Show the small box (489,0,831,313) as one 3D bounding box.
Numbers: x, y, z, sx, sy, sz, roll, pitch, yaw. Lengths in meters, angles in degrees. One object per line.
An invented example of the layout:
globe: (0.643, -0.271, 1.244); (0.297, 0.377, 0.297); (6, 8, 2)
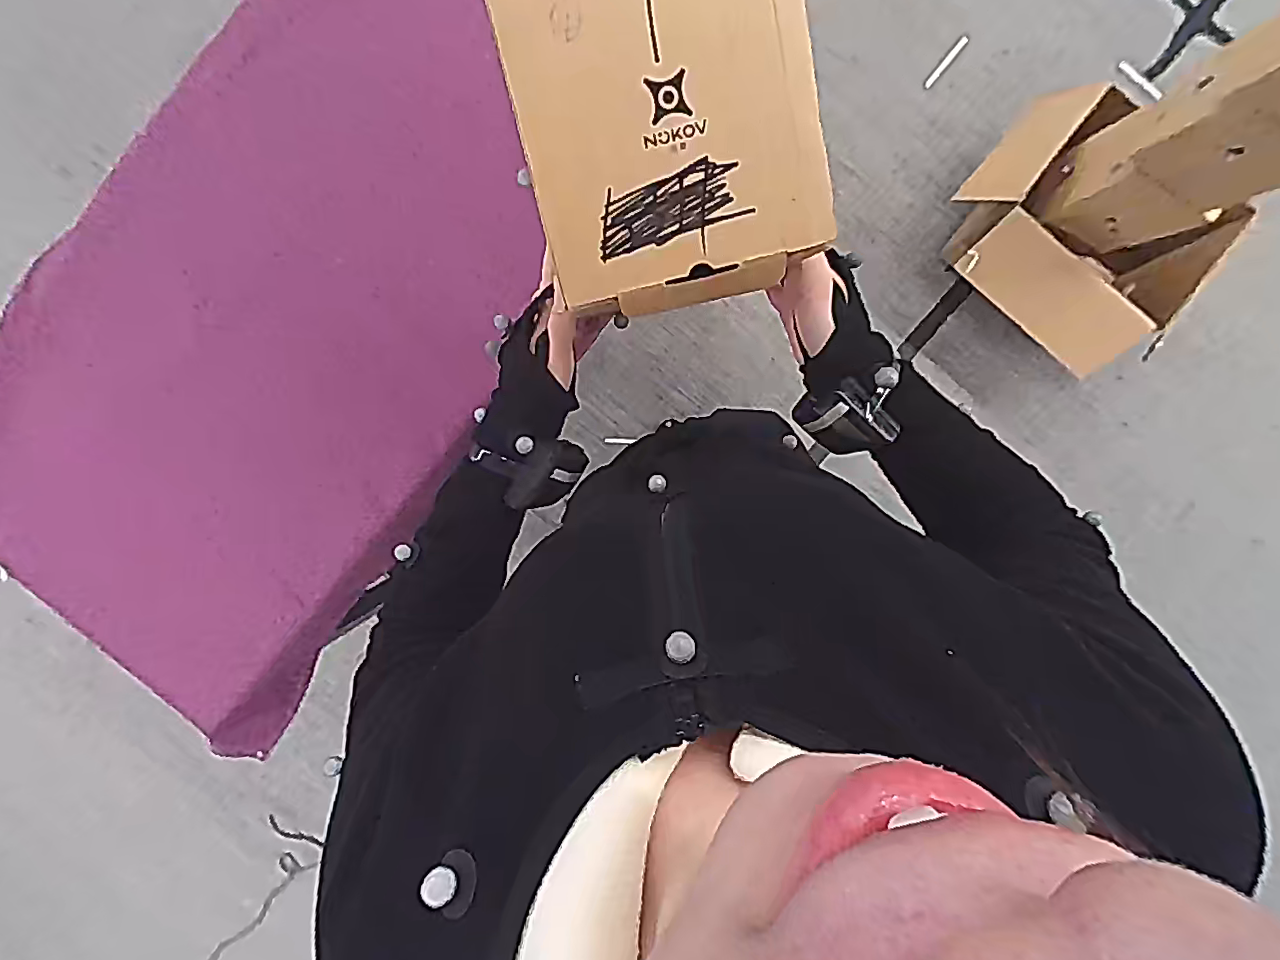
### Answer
small box: (0.014, -0.220, 0.375); (0.168, 0.176, 0.179); (-13, 104, 1)

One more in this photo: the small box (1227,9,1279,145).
small box: (0.910, -0.548, 0.669); (0.168, 0.176, 0.179); (33, 98, -4)

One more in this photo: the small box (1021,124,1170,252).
small box: (0.972, -0.610, 1.155); (0.179, 0.176, 0.168); (18, 98, -3)

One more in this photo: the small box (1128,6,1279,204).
small box: (0.929, -0.562, 0.832); (0.179, 0.176, 0.168); (32, 99, -4)
